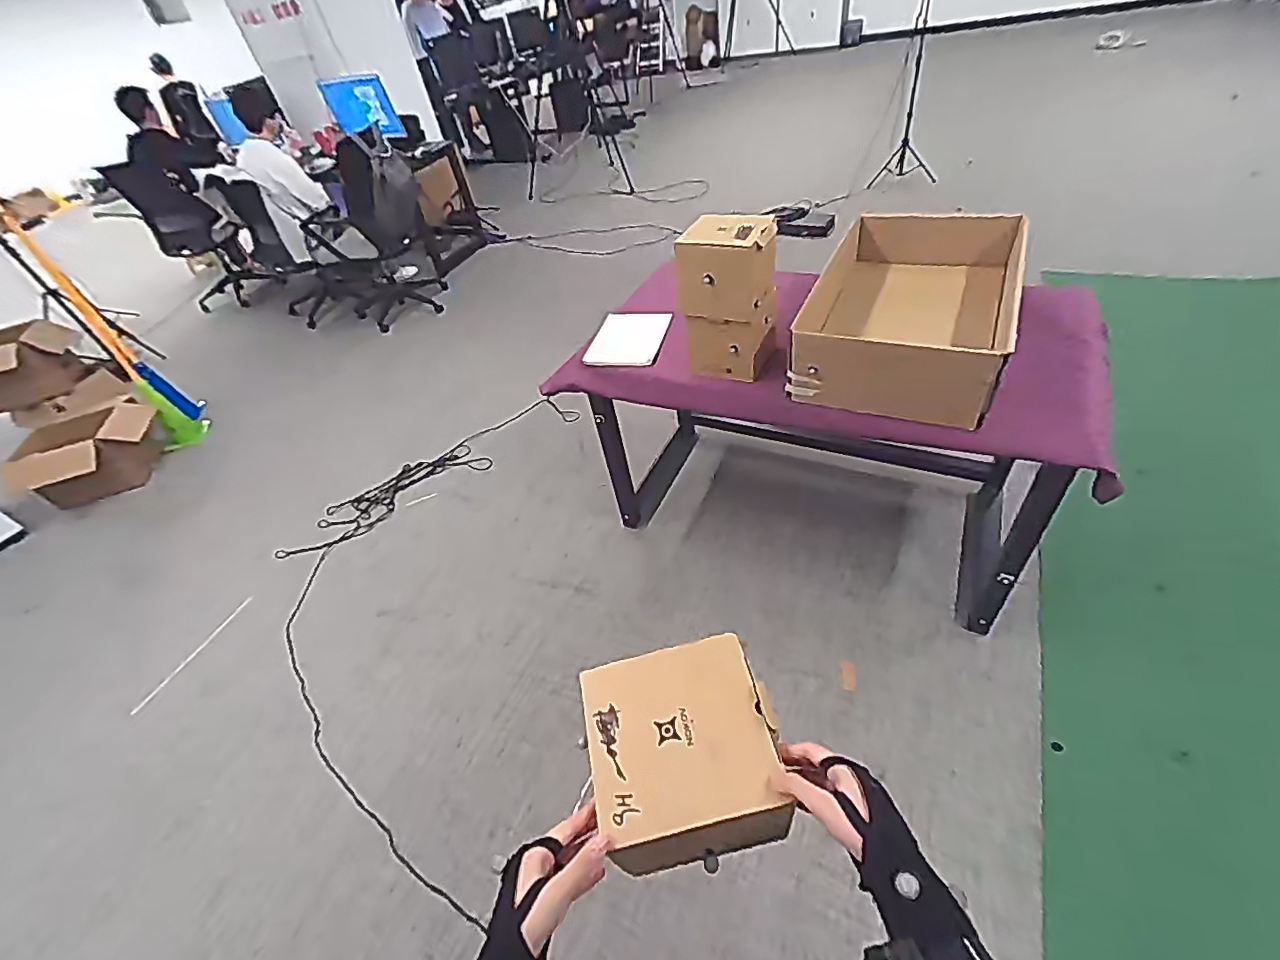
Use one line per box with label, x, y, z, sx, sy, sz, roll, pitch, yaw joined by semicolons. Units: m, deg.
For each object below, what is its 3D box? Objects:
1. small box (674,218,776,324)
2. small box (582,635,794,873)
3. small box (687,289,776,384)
small box;0.195;-0.469;1.216;0.179;0.176;0.168;15;49;25
small box;0.046;0.292;0.575;0.179;0.176;0.168;-13;45;-1
small box;0.231;-0.358;1.332;0.168;0.176;0.179;15;49;25
